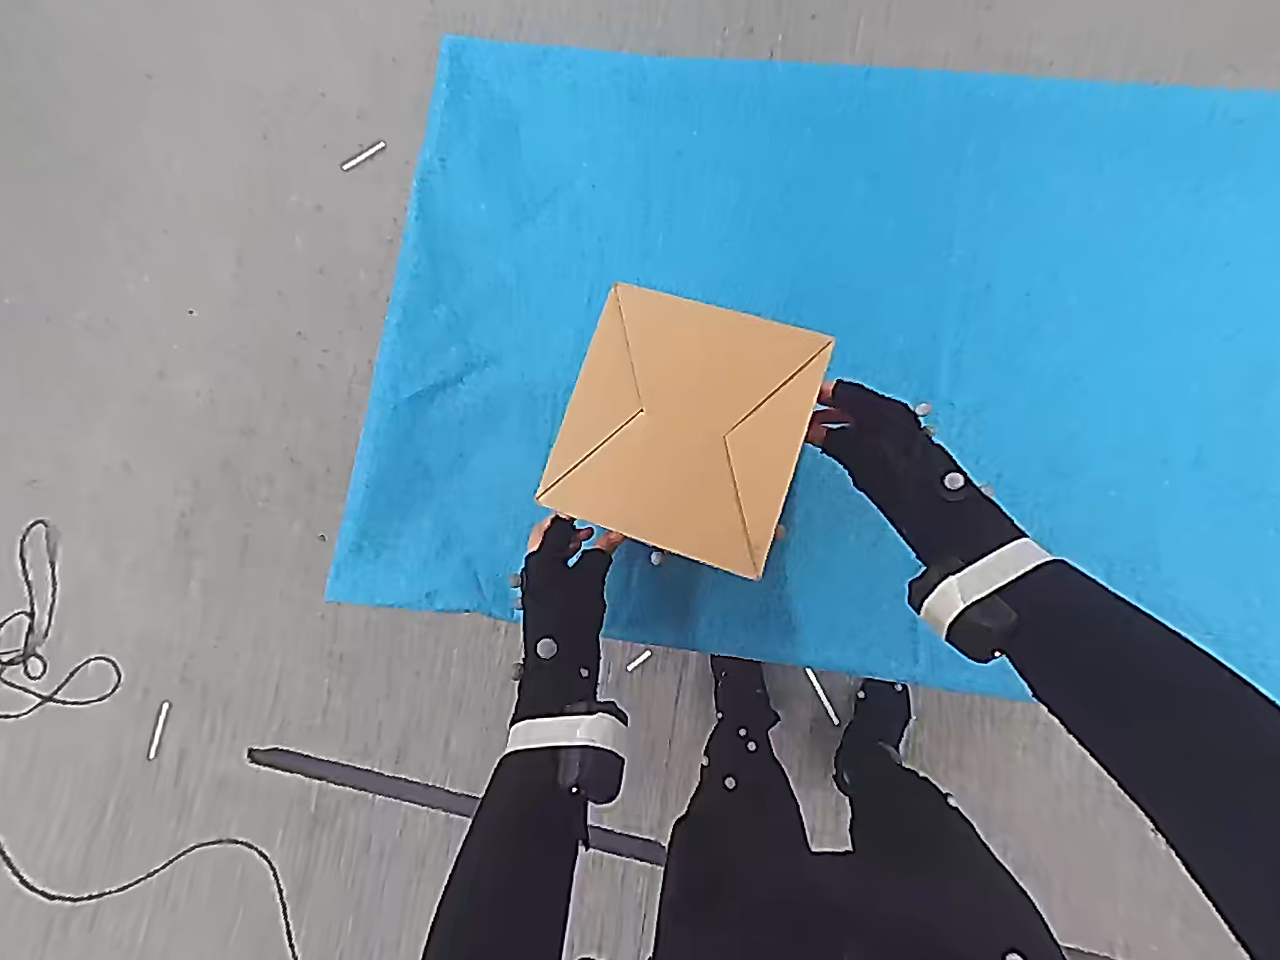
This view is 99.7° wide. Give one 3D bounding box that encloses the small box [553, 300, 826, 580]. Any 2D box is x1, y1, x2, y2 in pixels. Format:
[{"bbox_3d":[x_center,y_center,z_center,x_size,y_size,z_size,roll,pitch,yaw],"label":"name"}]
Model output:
[{"bbox_3d":[0.044,-0.022,0.462,0.168,0.176,0.179,17,84,11],"label":"small box"}]
